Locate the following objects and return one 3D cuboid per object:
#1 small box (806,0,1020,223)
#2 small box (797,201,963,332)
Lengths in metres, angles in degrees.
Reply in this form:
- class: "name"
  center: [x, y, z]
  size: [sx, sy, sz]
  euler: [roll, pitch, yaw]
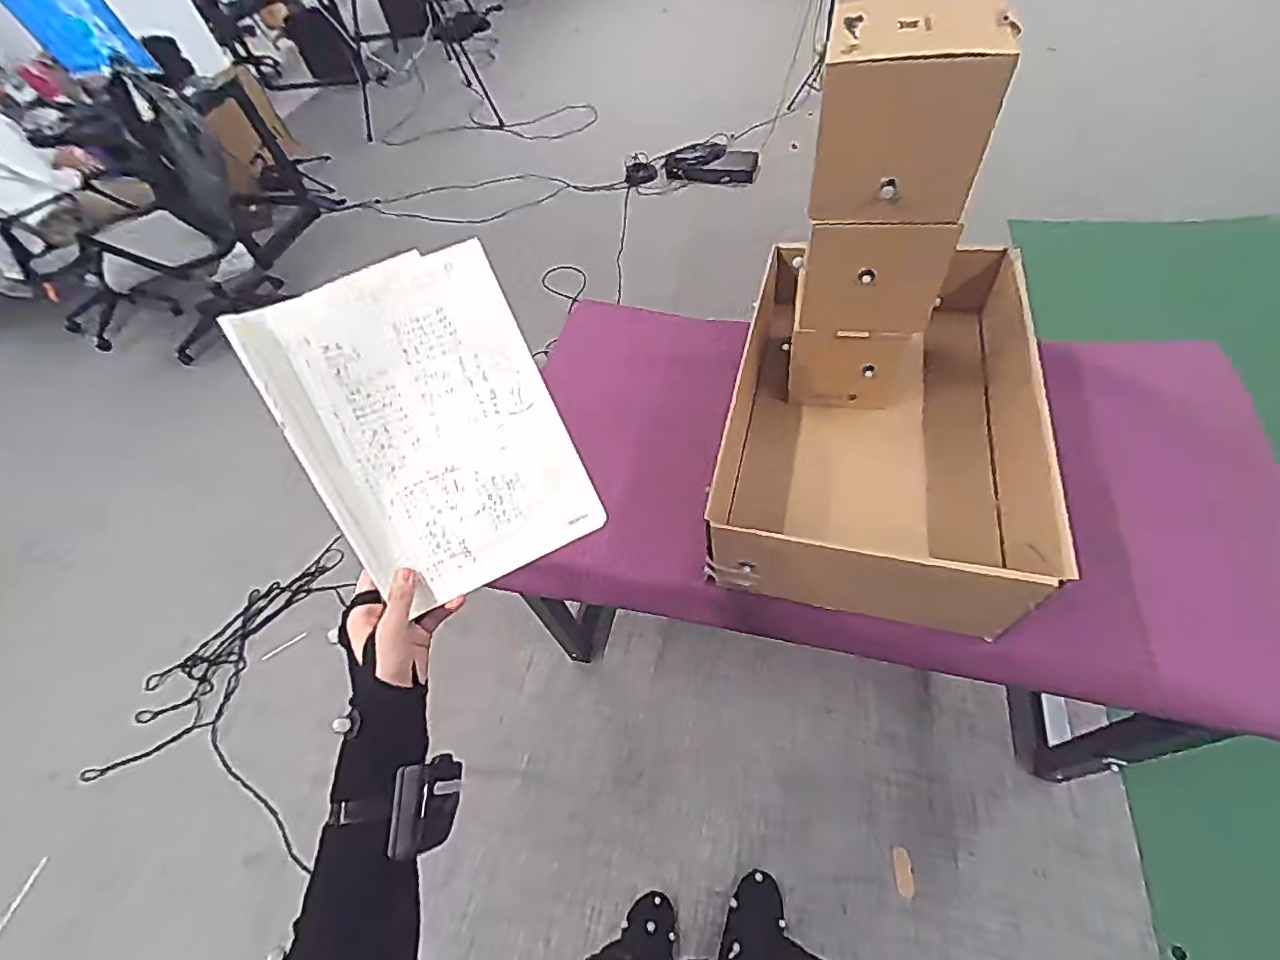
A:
- class: "small box"
  center: [0.302, -0.423, 0.631]
  size: [0.179, 0.176, 0.168]
  euler: [9, 57, 14]
- class: "small box"
  center: [0.325, -0.326, 0.761]
  size: [0.179, 0.176, 0.168]
  euler: [6, 57, 14]
